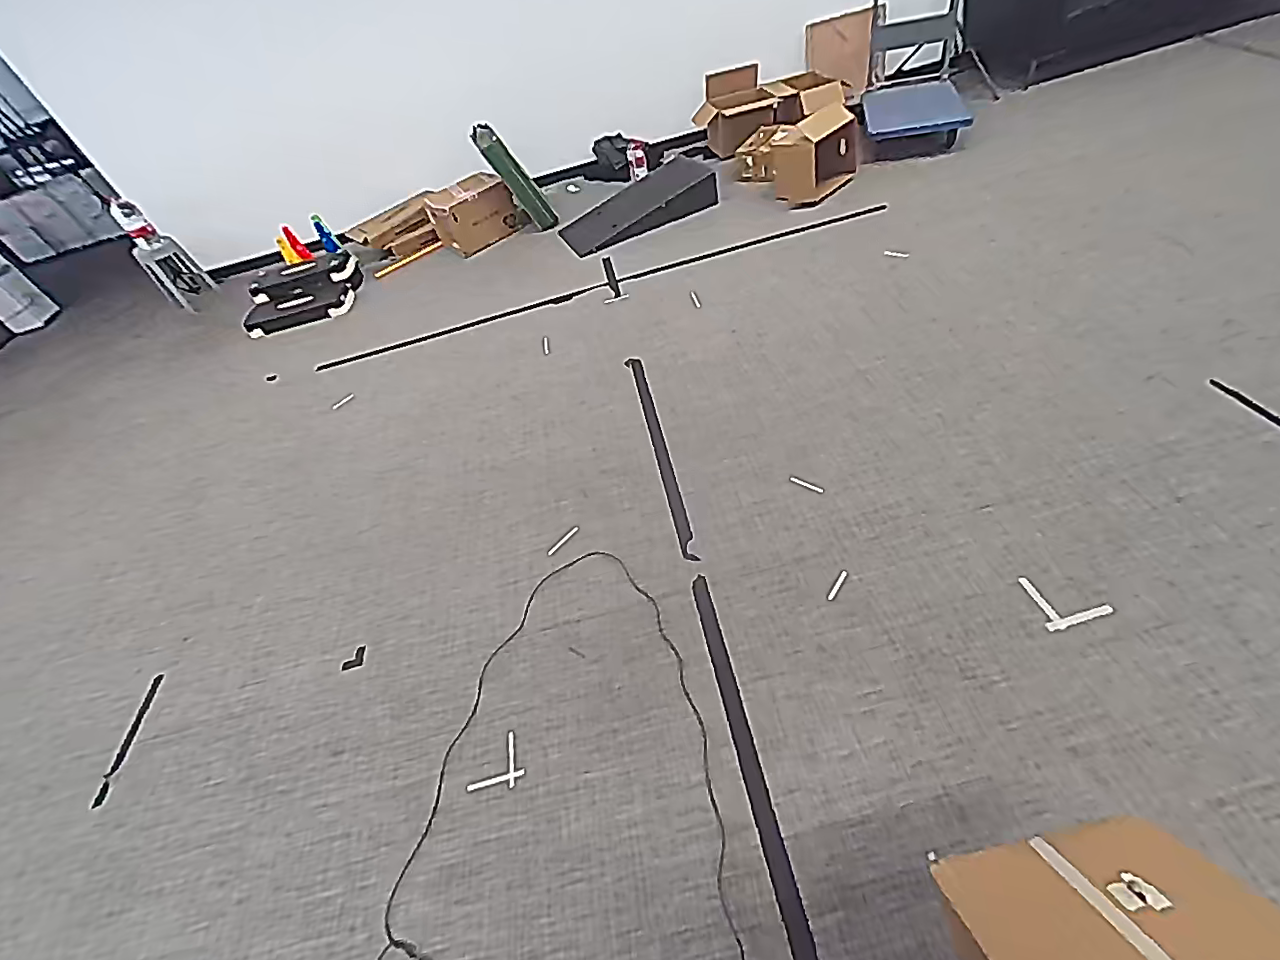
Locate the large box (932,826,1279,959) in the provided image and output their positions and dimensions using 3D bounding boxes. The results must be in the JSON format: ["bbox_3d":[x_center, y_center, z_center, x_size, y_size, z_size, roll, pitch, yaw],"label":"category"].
[{"bbox_3d":[0.606,0.675,0.588,0.320,0.408,0.320,-16,84,4],"label":"large box"}]
